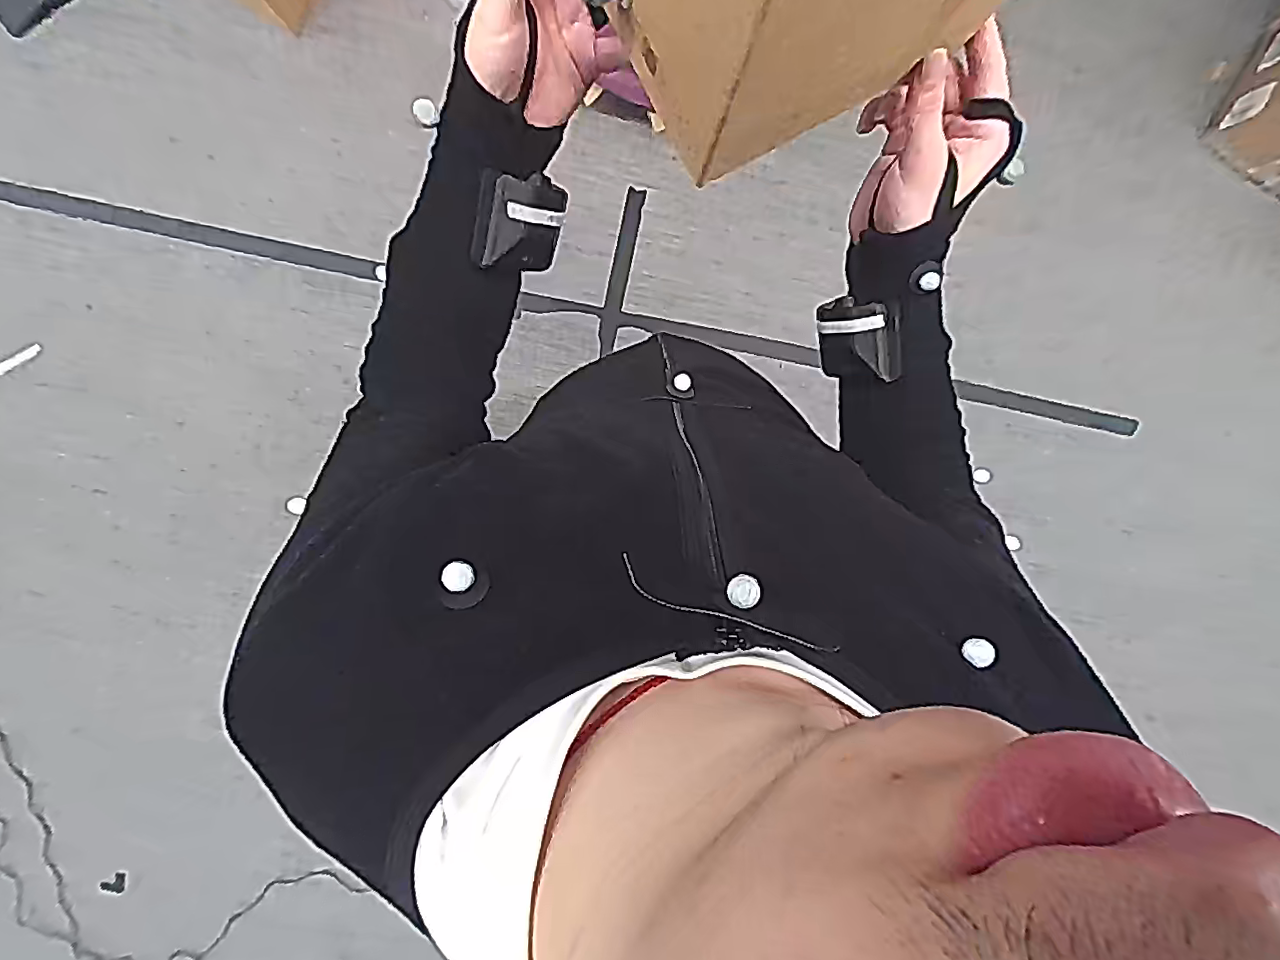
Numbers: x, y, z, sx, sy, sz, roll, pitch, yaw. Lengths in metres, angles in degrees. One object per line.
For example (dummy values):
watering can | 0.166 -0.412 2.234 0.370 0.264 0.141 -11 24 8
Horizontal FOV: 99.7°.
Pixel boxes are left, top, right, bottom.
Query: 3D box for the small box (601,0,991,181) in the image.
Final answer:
small box | 0.078 -0.275 0.231 0.179 0.176 0.168 -30 94 -3
